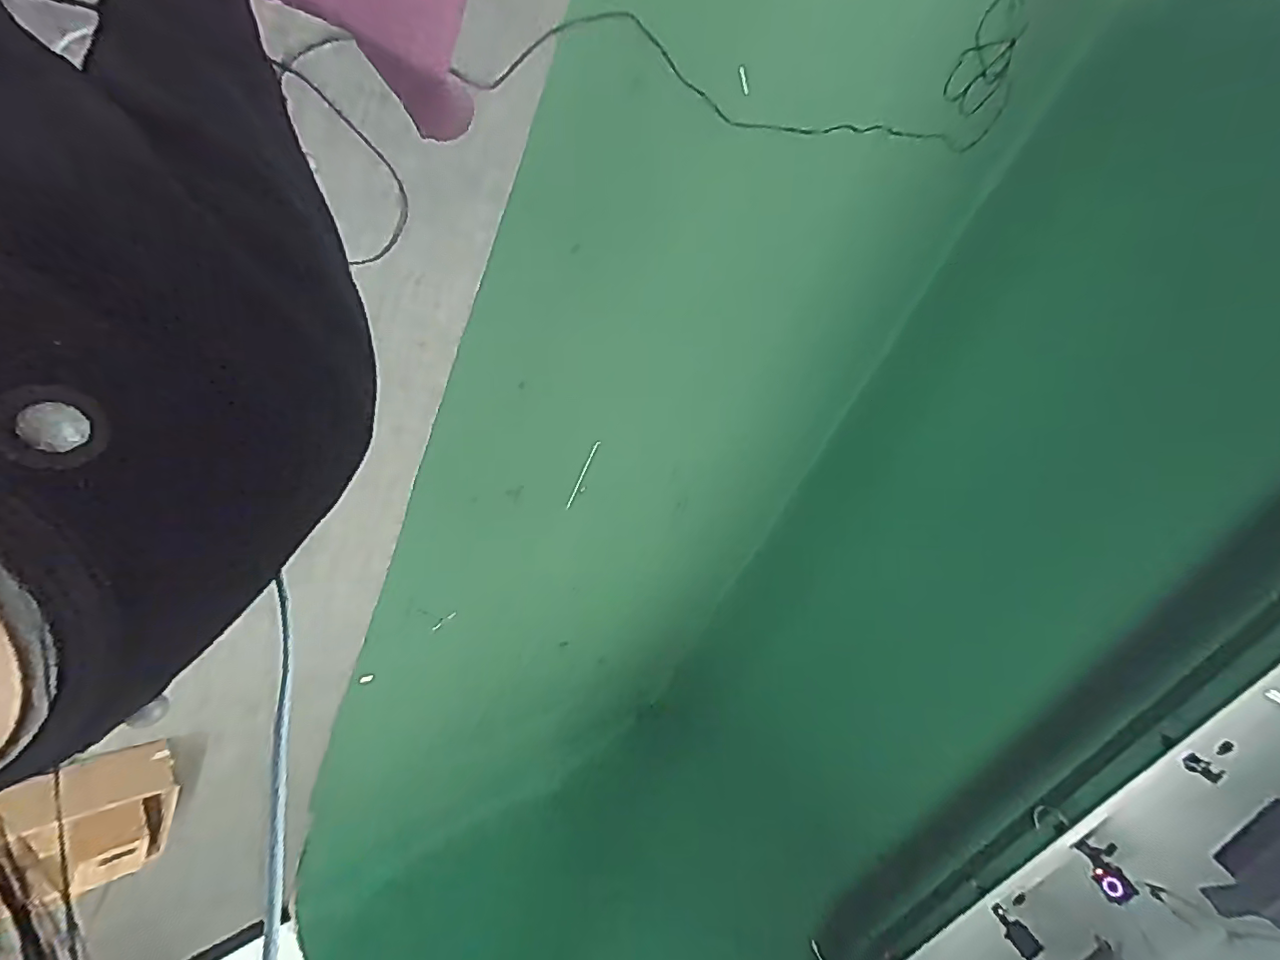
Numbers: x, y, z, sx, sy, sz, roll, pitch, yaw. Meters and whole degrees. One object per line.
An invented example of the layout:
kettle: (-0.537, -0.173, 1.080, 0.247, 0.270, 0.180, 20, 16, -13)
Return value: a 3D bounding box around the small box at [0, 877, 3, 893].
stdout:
small box: (-1.938, 1.153, 1.511, 0.179, 0.176, 0.168, 13, 114, -56)
